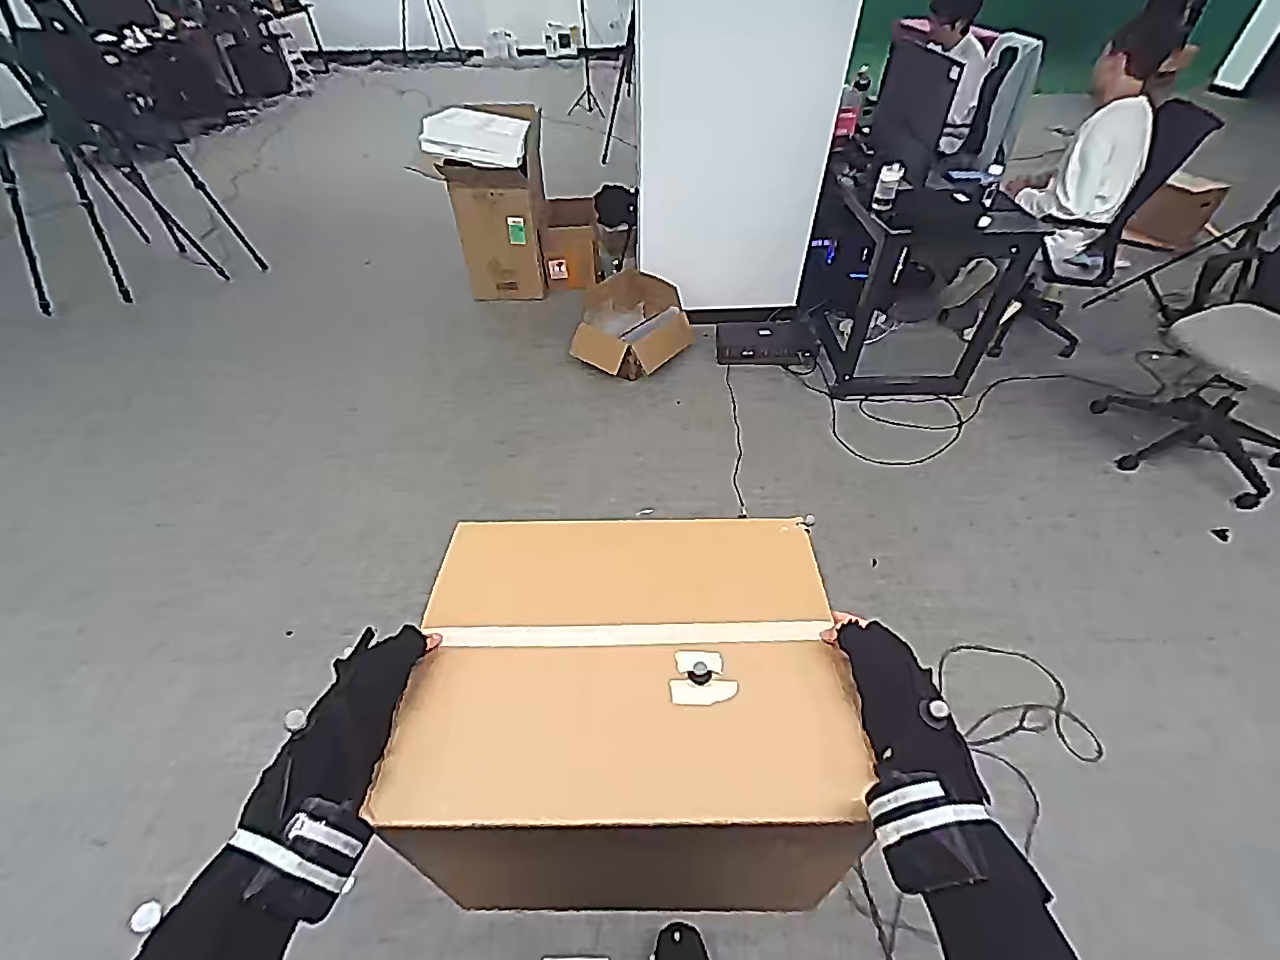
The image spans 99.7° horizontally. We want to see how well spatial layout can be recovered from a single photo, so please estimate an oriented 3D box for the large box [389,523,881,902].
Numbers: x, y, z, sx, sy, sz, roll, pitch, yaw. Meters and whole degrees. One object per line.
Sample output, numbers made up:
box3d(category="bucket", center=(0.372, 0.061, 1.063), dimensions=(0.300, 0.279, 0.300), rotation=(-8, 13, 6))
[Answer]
box3d(category="large box", center=(-0.004, 0.268, 0.637), dimensions=(0.408, 0.320, 0.320), rotation=(-1, 42, 1))
